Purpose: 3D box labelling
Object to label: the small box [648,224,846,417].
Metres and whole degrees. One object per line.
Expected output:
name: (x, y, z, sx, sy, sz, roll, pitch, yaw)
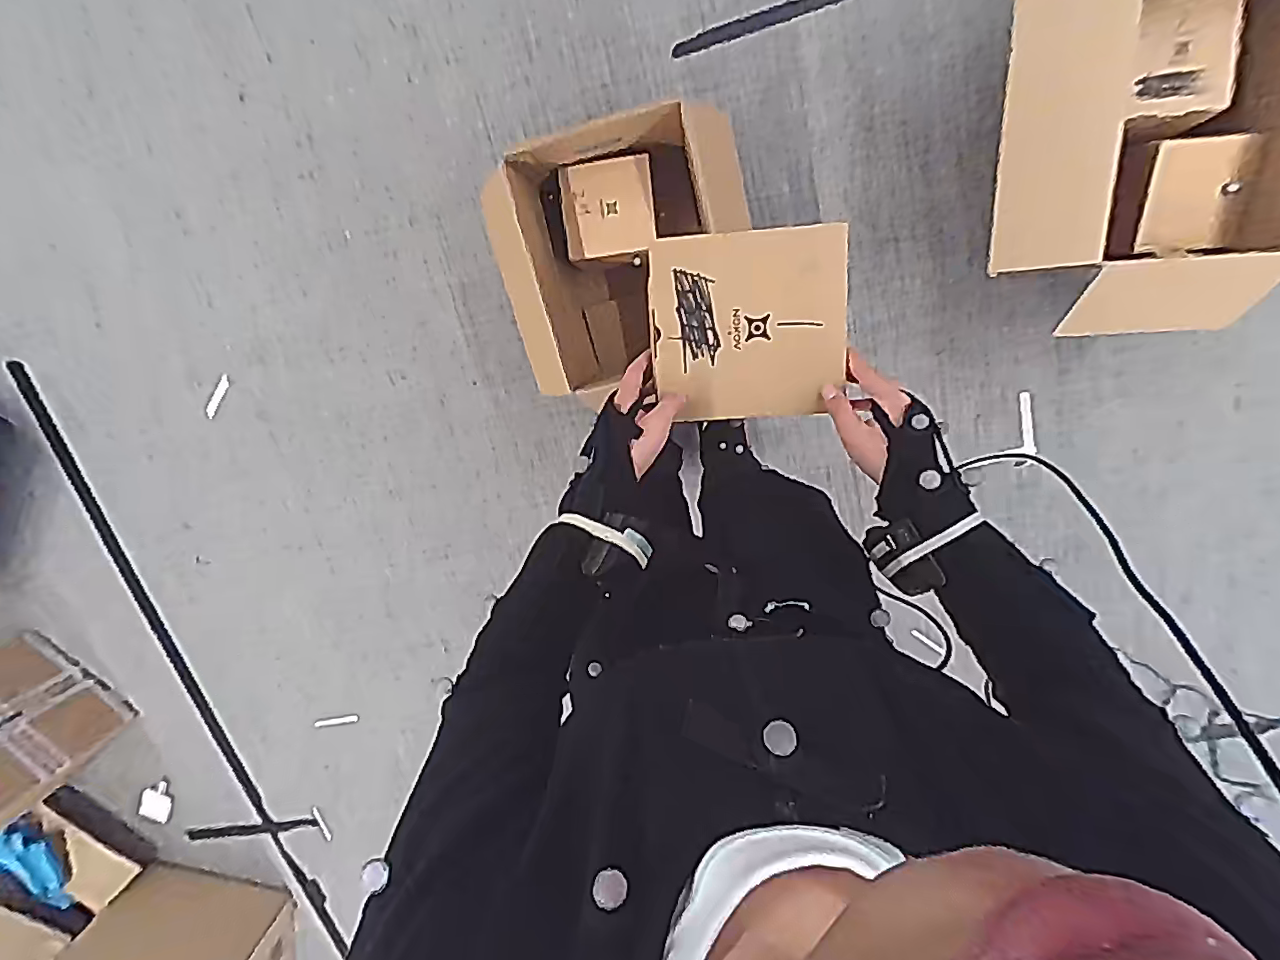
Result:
small box: (0.110, -0.156, 0.573, 0.179, 0.176, 0.168, -2, 102, 9)
